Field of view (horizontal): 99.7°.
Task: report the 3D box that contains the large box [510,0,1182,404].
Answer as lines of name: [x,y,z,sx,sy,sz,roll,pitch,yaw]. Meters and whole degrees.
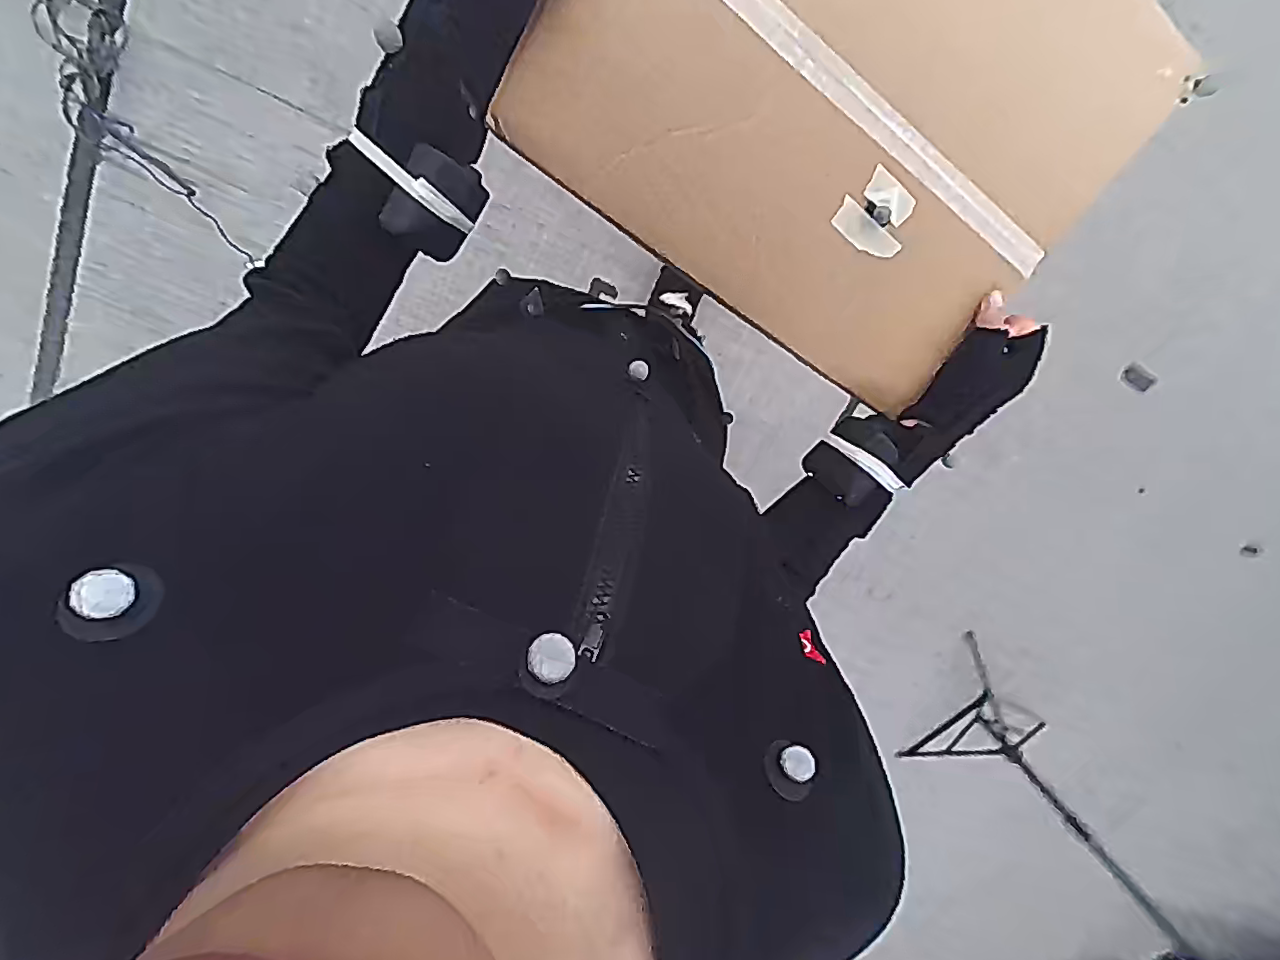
large box: [0.139,-0.339,0.519,0.408,0.320,0.320,29,111,-18]
